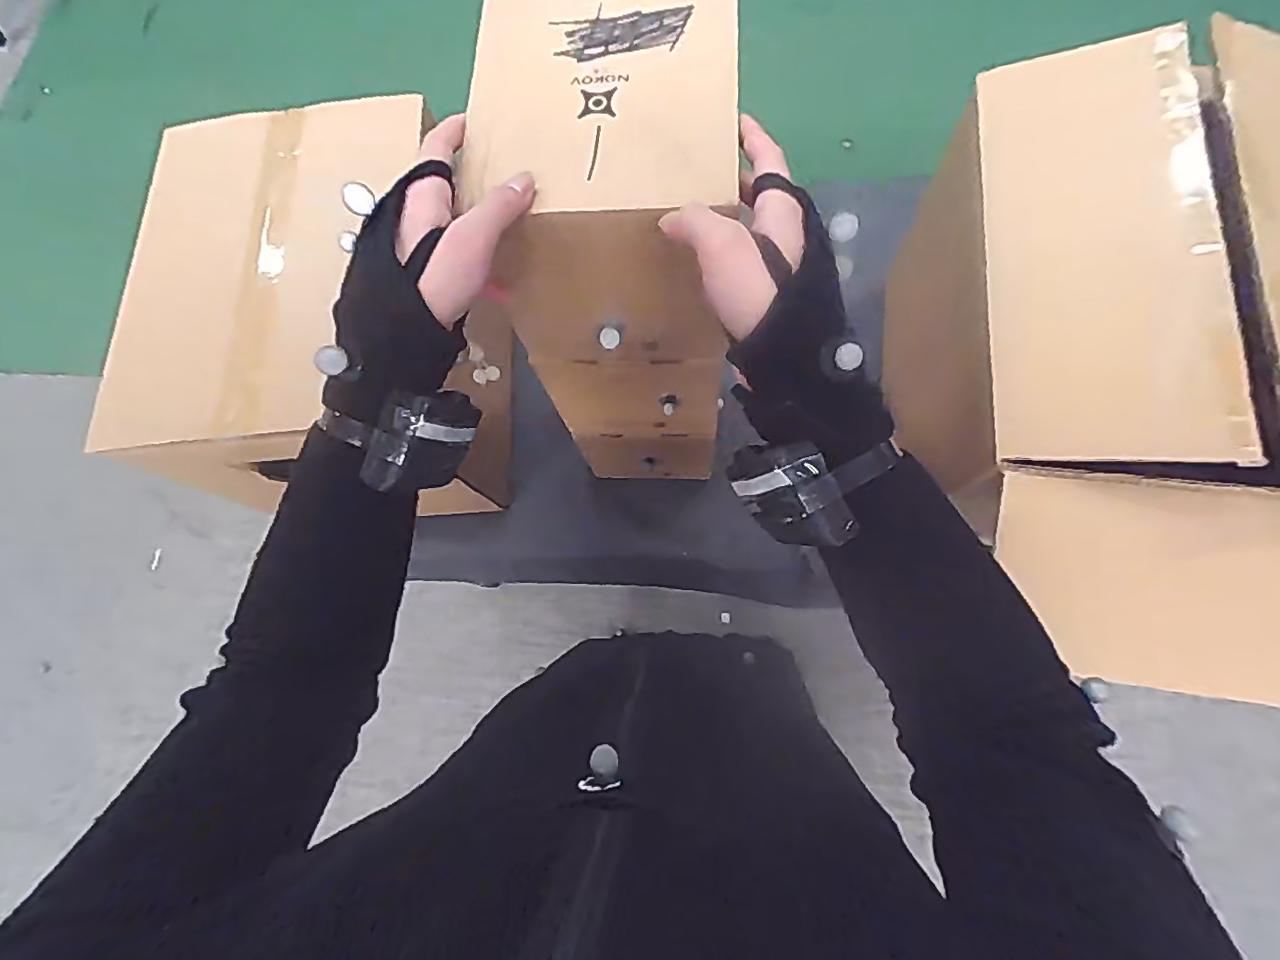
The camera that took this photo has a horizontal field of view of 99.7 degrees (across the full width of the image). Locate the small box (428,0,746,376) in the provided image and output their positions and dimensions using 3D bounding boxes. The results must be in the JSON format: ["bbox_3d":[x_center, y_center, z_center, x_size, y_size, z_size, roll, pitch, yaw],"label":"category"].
[{"bbox_3d":[-0.019,-0.189,0.372,0.168,0.176,0.179,1,75,6],"label":"small box"}]

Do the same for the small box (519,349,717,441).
[{"bbox_3d":[-0.007,-0.144,0.529,0.168,0.176,0.179,1,73,5],"label":"small box"}]
